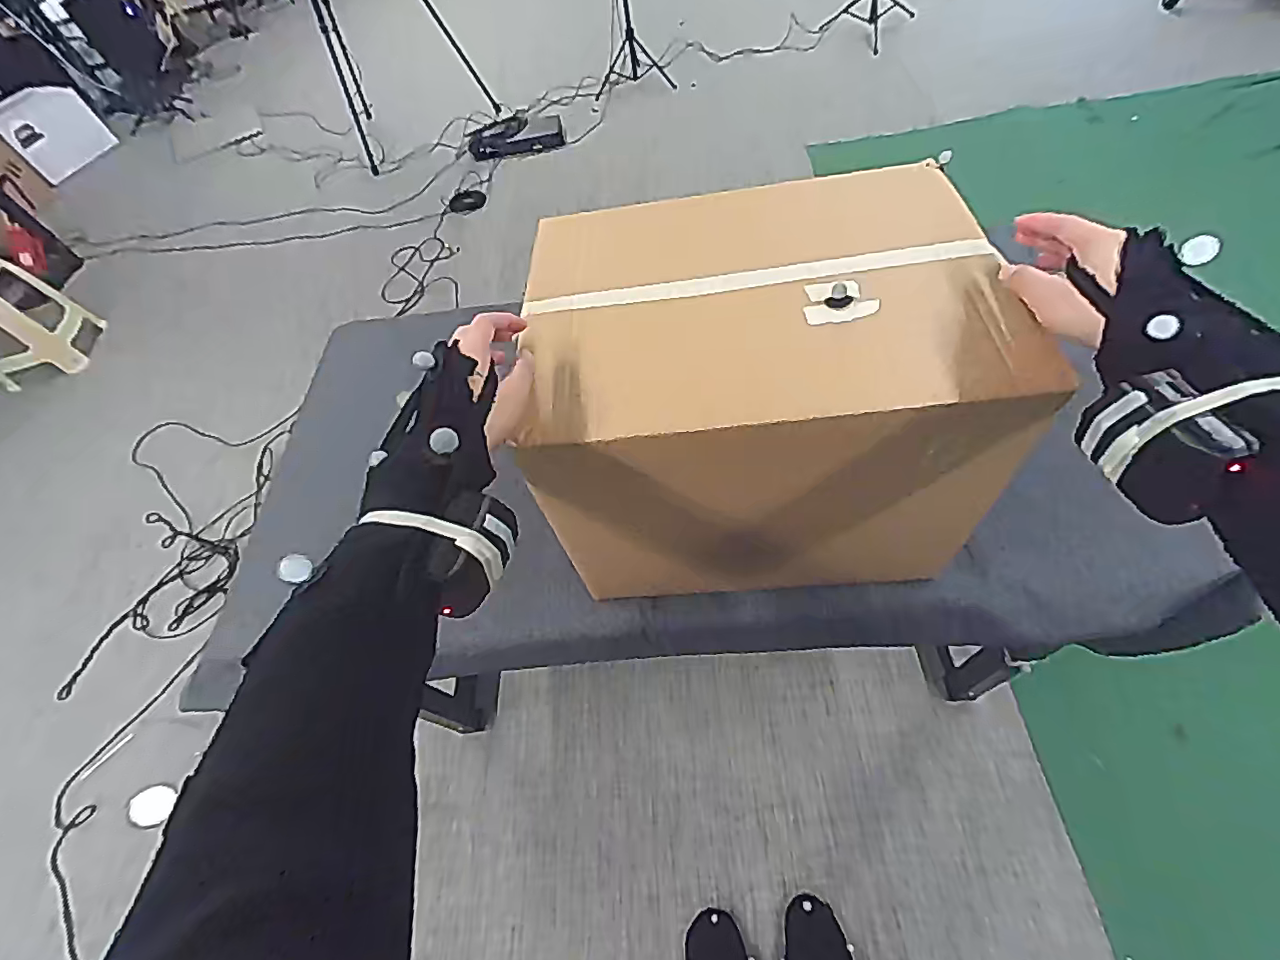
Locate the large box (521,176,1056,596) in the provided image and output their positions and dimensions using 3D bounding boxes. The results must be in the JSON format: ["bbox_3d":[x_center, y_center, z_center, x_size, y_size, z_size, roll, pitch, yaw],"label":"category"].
[{"bbox_3d":[0.116,-0.084,0.606,0.408,0.320,0.320,-5,55,6],"label":"large box"}]
